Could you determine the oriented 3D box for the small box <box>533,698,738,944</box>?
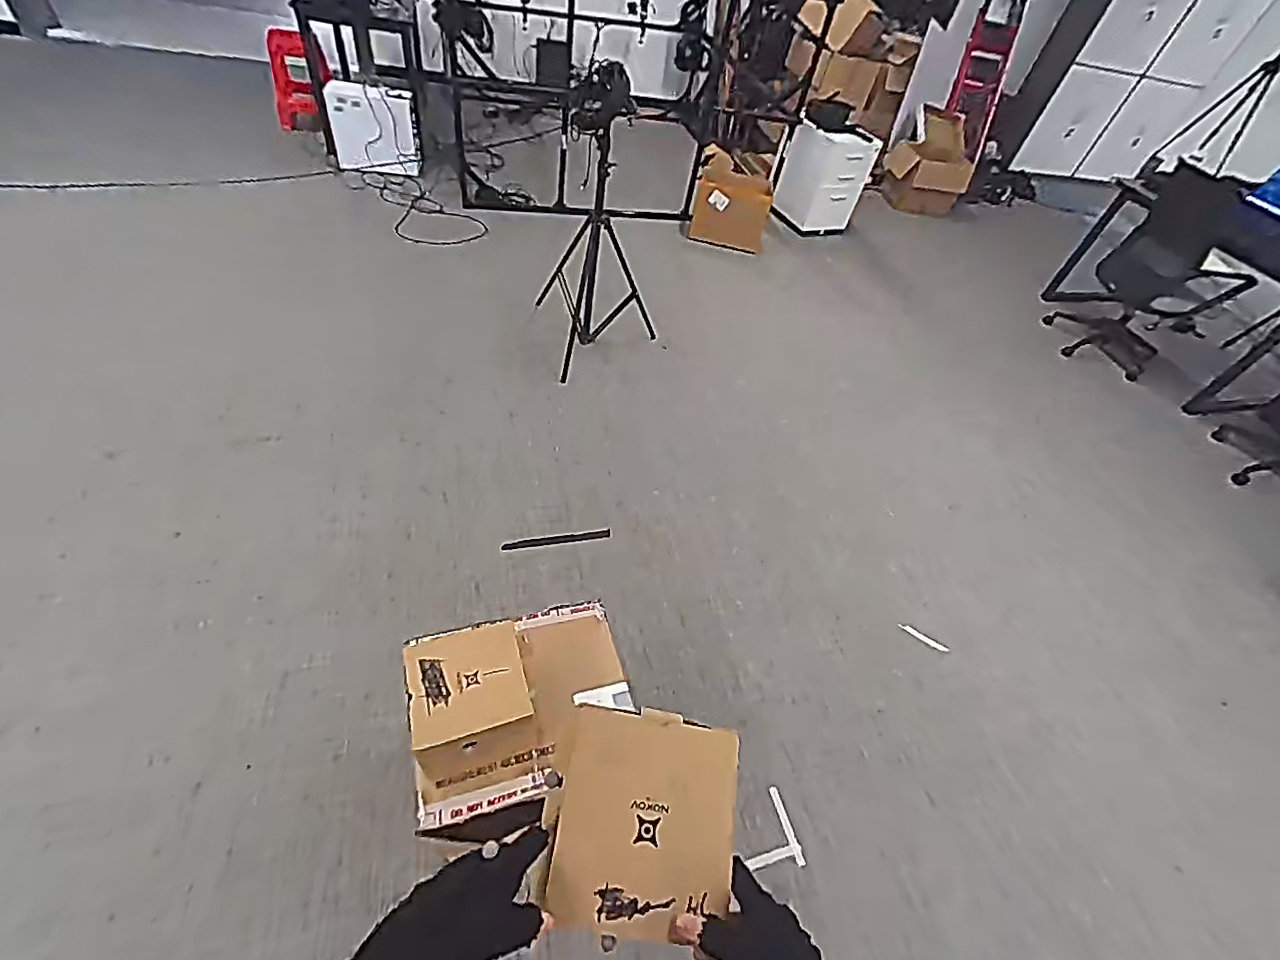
[{"bbox_3d":[-0.011,0.339,0.564,0.168,0.176,0.179,14,63,-8],"label":"small box"}]

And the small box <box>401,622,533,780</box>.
[{"bbox_3d":[-0.279,0.364,0.888,0.179,0.176,0.168,-10,50,-19],"label":"small box"}]
